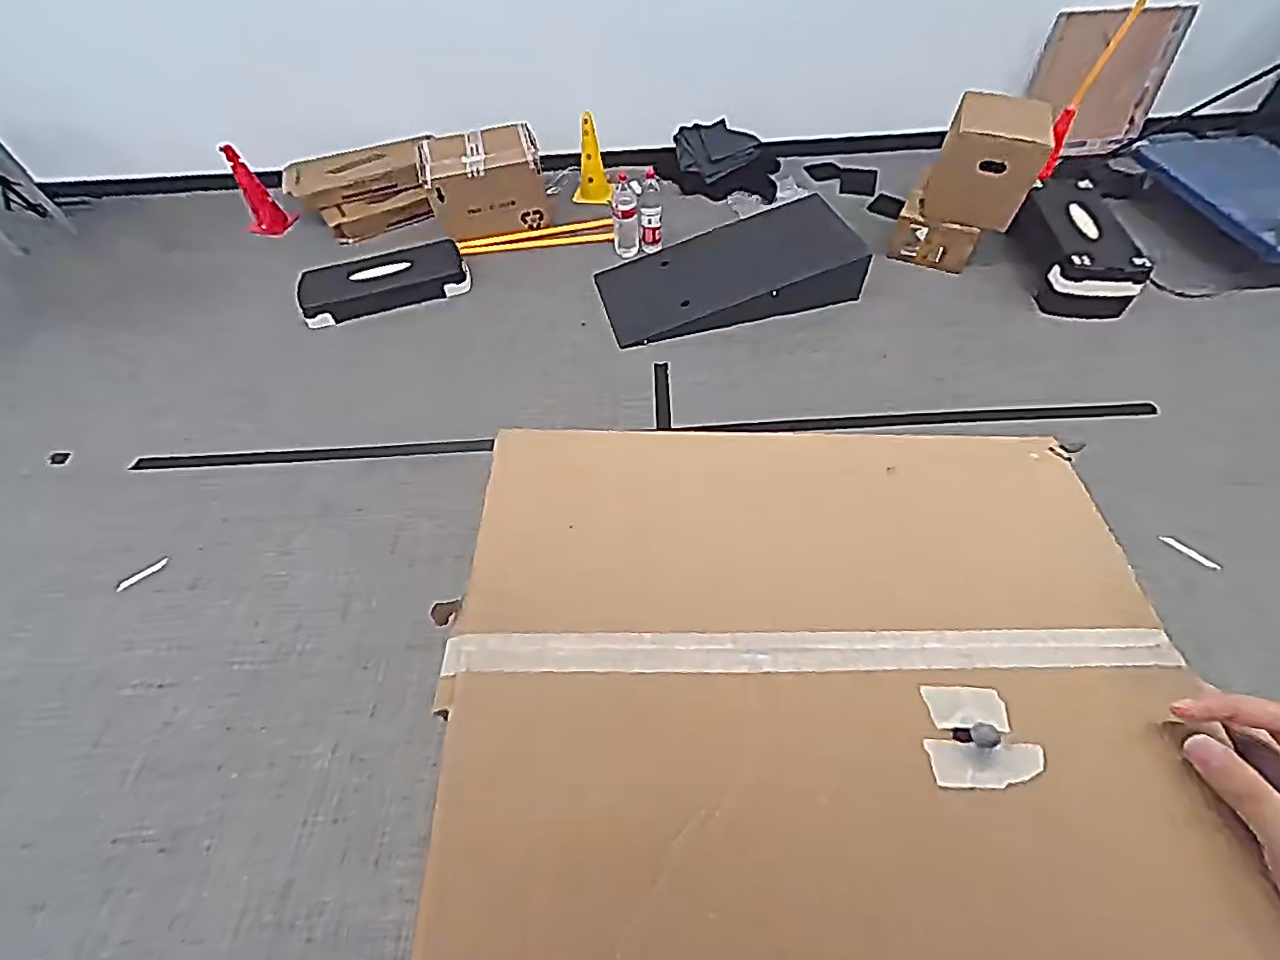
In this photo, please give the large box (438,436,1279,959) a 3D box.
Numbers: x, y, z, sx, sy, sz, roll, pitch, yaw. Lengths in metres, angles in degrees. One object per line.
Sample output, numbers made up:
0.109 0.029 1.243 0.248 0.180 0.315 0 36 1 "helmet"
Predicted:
0.096 0.180 0.440 0.408 0.320 0.320 1 57 -3 "large box"
